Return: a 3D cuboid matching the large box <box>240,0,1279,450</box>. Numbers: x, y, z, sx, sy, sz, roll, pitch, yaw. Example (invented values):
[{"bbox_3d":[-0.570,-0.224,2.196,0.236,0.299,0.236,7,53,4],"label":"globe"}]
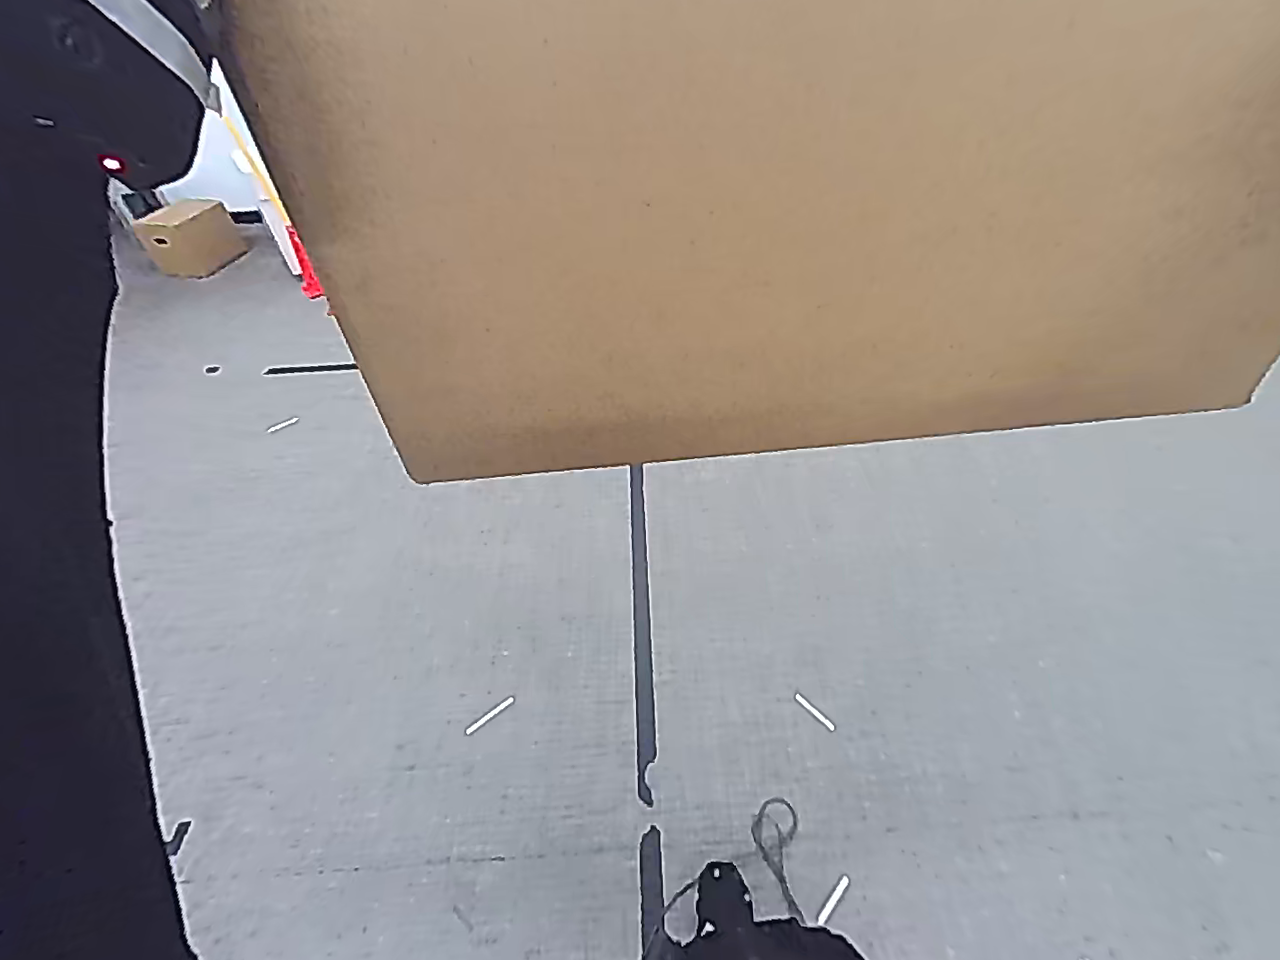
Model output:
[{"bbox_3d":[0.065,-0.239,0.292,0.408,0.320,0.320,-5,40,0],"label":"large box"}]
